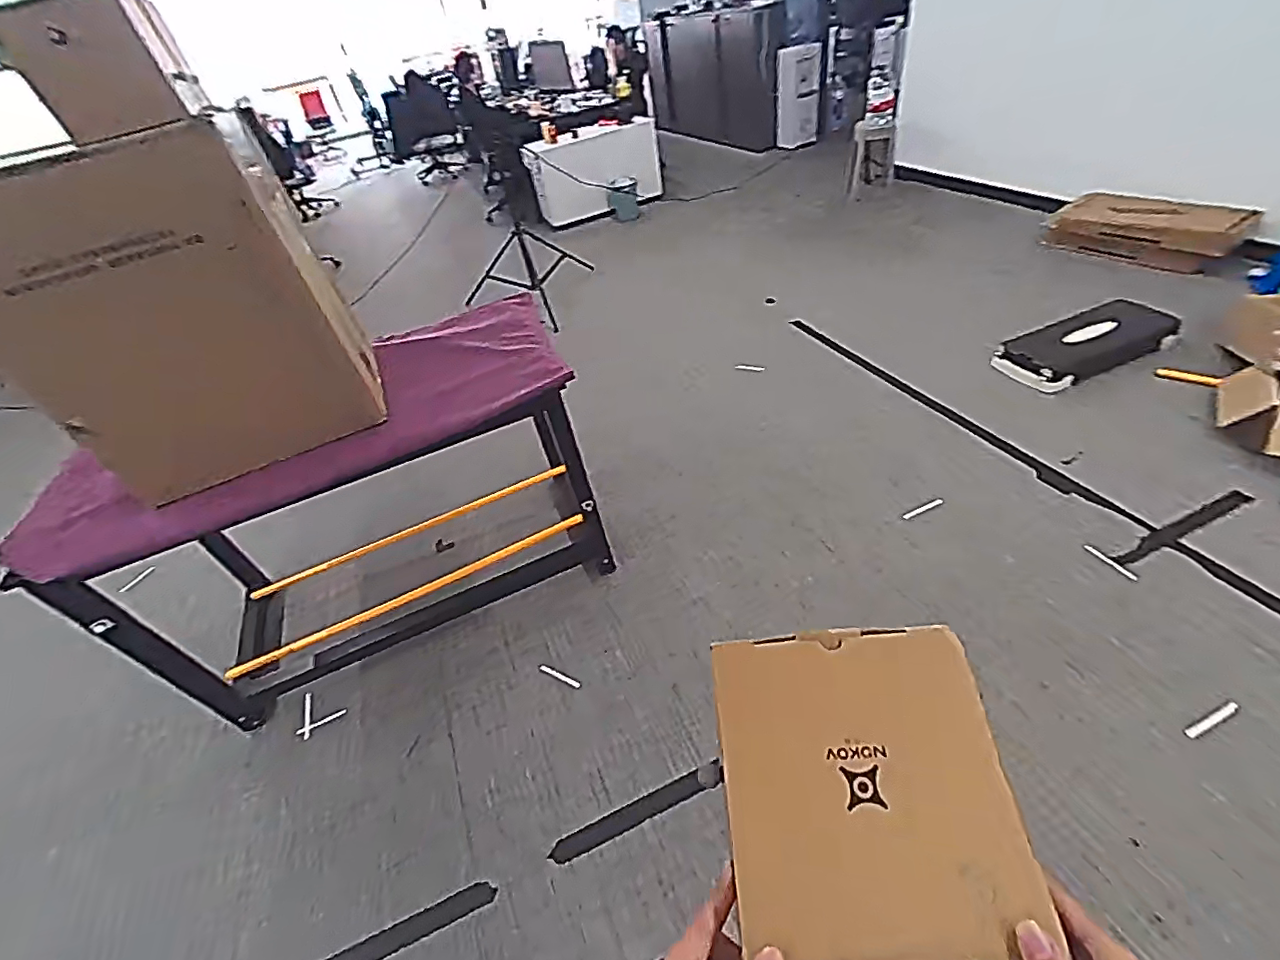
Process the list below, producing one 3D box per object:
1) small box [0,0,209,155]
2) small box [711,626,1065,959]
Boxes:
[{"bbox_3d":[-0.851,-0.644,0.869,0.179,0.176,0.168,-26,44,-13],"label":"small box"},{"bbox_3d":[0.147,0.222,0.394,0.168,0.176,0.179,-7,57,6],"label":"small box"}]
